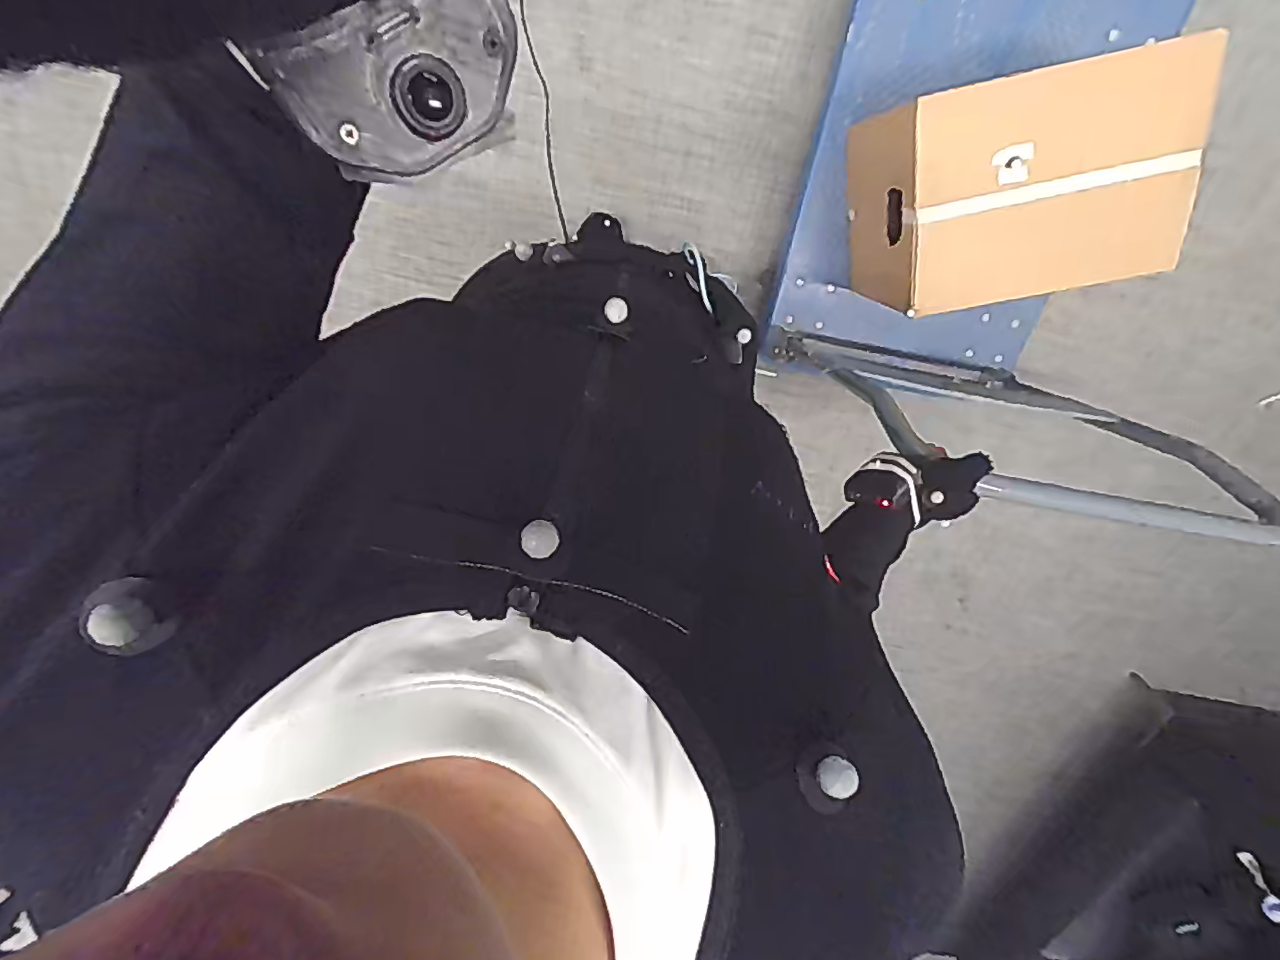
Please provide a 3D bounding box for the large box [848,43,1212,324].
[{"bbox_3d":[0.616,-0.495,0.950,0.408,0.320,0.320,-8,116,7],"label":"large box"}]
